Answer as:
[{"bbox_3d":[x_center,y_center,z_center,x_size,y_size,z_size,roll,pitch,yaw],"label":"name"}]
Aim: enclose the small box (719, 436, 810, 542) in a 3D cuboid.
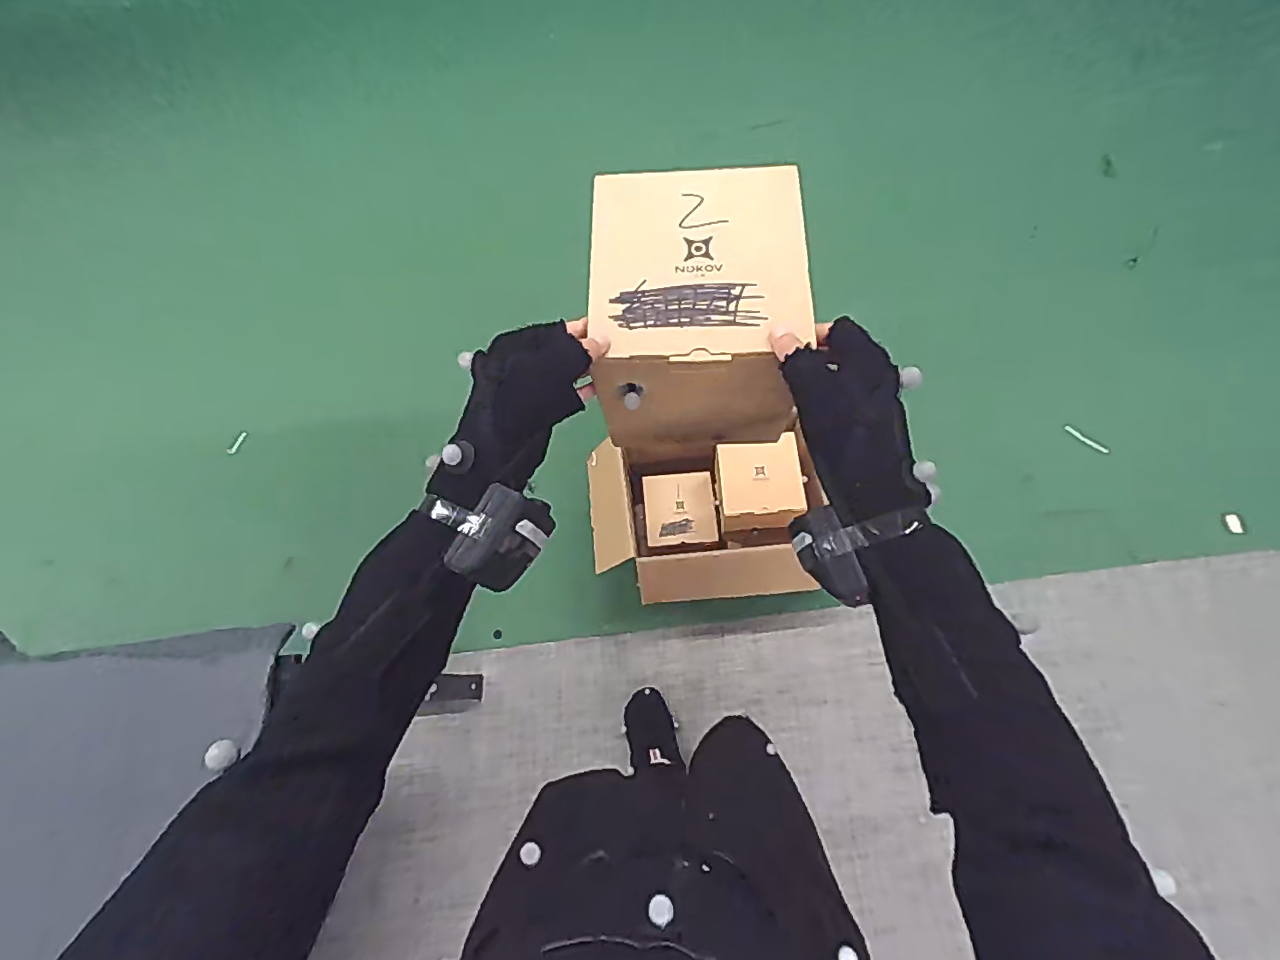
[{"bbox_3d":[0.263,0.024,1.184,0.168,0.176,0.179,-5,66,6],"label":"small box"}]
